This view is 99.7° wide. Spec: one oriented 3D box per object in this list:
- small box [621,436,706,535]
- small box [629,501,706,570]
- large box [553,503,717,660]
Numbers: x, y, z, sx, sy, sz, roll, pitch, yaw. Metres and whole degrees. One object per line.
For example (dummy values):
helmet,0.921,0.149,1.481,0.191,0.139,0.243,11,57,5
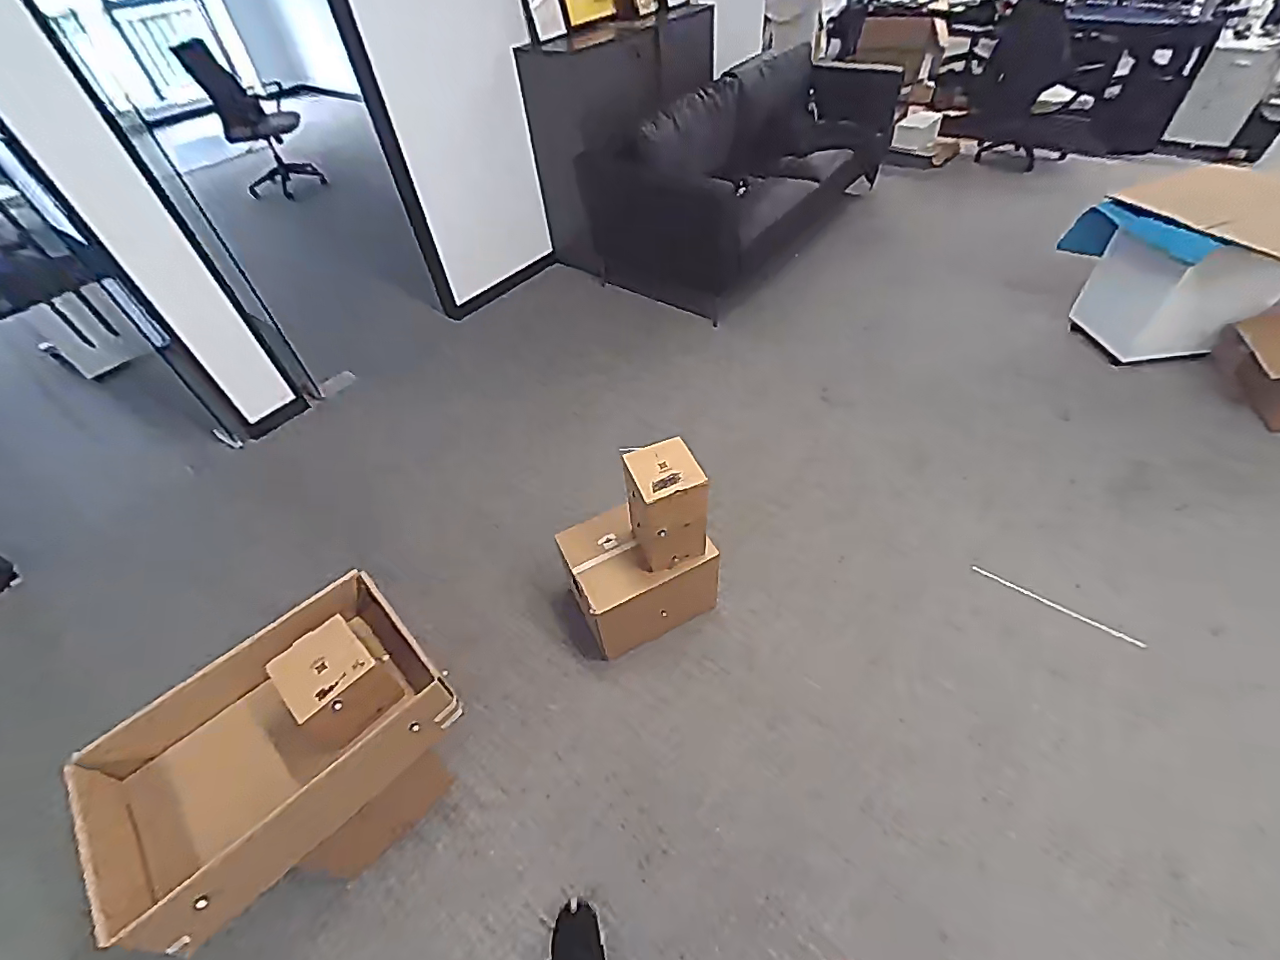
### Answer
small box,0.062,0.023,1.398,0.168,0.176,0.179,-19,50,-11
small box,0.073,0.124,1.527,0.168,0.176,0.179,-19,51,-11
large box,-0.009,0.294,1.710,0.408,0.320,0.320,-24,50,-15
